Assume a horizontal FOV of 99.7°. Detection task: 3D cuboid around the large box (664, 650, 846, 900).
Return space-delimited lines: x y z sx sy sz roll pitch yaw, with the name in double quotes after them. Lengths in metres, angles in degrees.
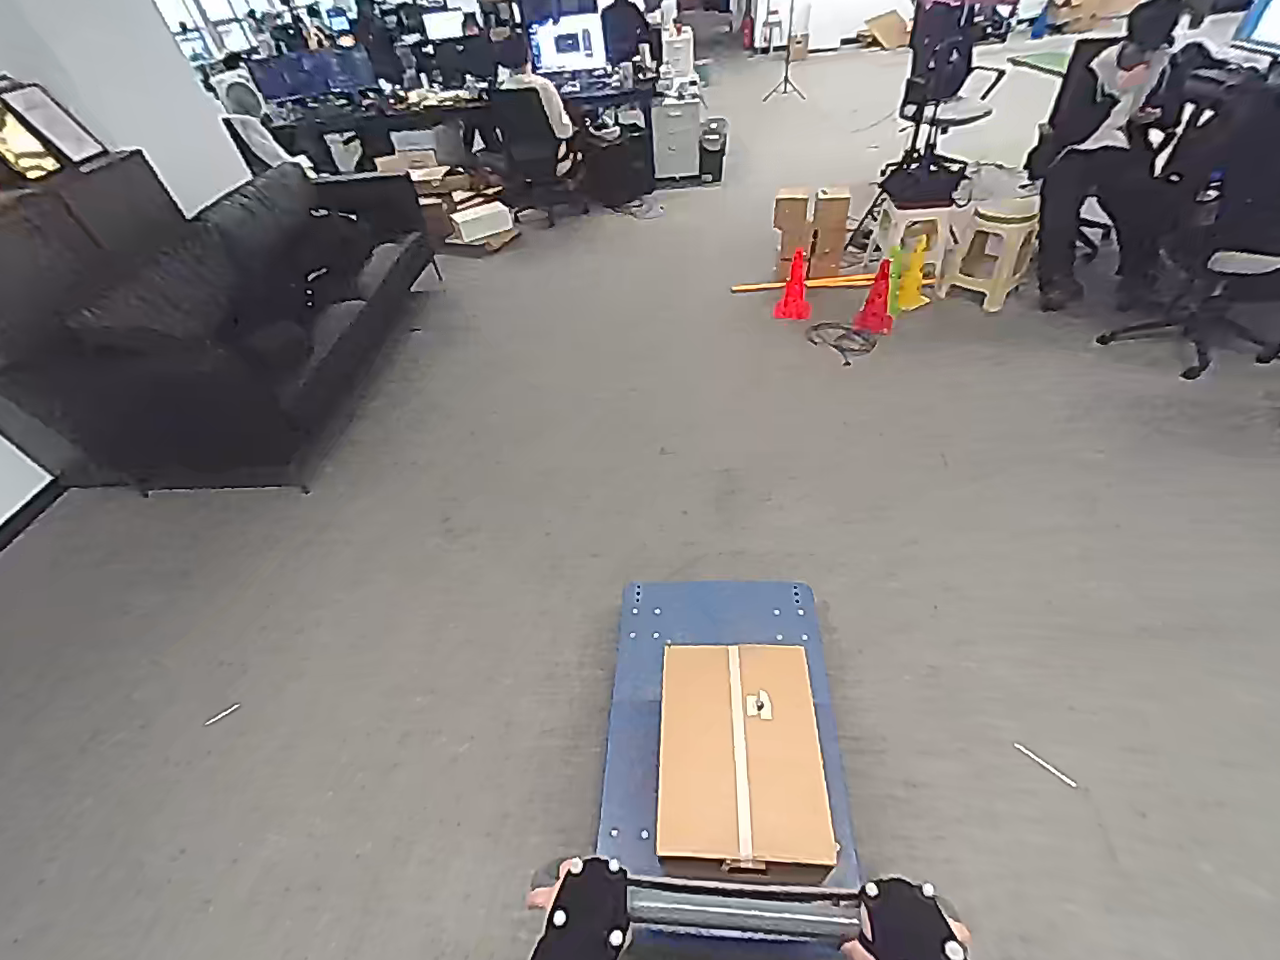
0.223 0.626 1.161 0.320 0.320 0.408 -2 44 7 "large box"
